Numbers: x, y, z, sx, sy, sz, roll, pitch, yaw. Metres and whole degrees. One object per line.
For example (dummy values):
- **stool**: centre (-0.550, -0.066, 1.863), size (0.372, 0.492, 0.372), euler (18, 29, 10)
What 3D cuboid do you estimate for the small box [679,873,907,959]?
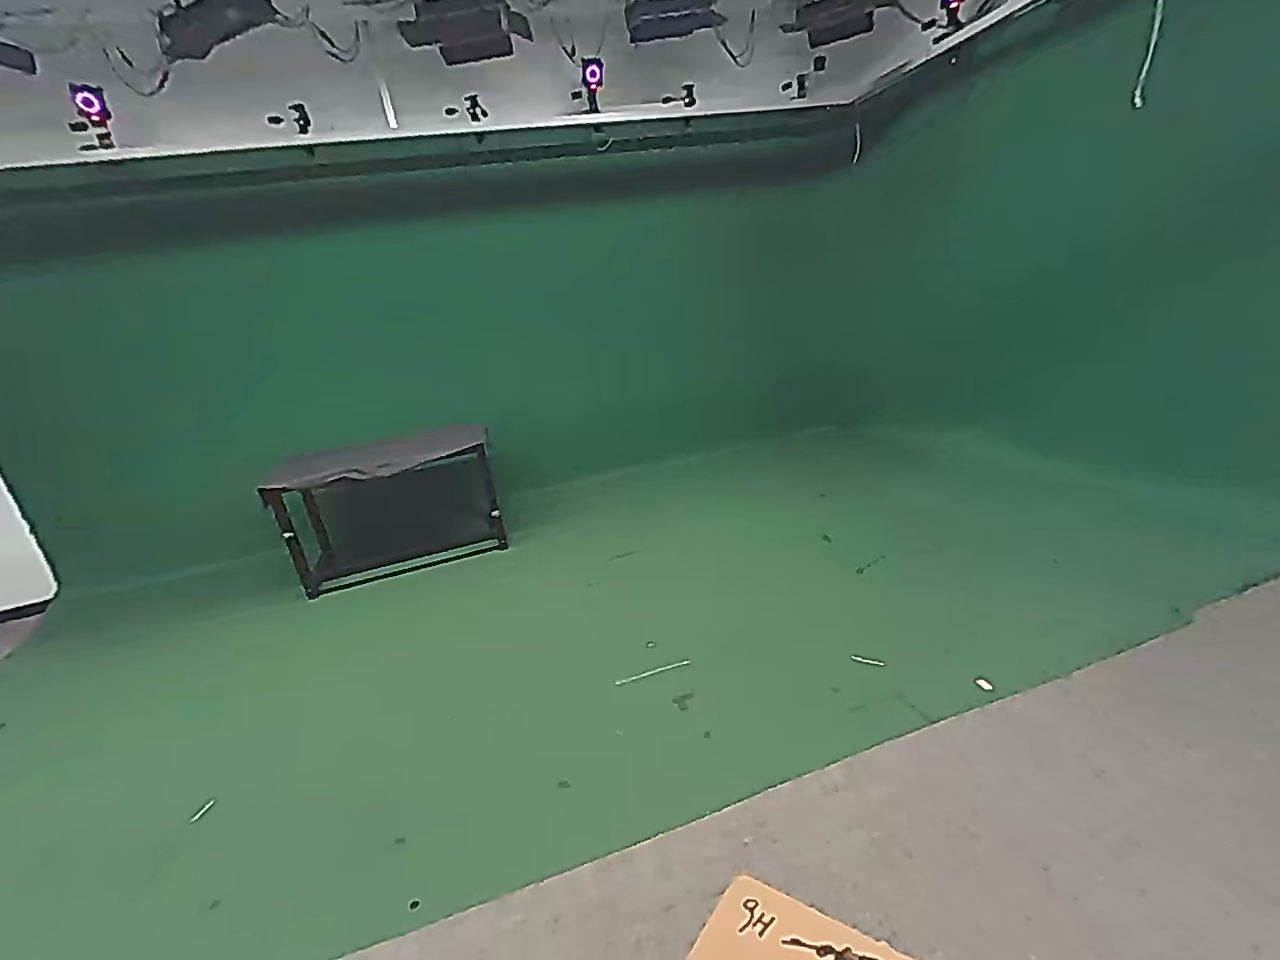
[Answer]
- **small box**: centre (0.100, 0.403, 0.320), size (0.168, 0.176, 0.179), euler (-3, 18, 42)
